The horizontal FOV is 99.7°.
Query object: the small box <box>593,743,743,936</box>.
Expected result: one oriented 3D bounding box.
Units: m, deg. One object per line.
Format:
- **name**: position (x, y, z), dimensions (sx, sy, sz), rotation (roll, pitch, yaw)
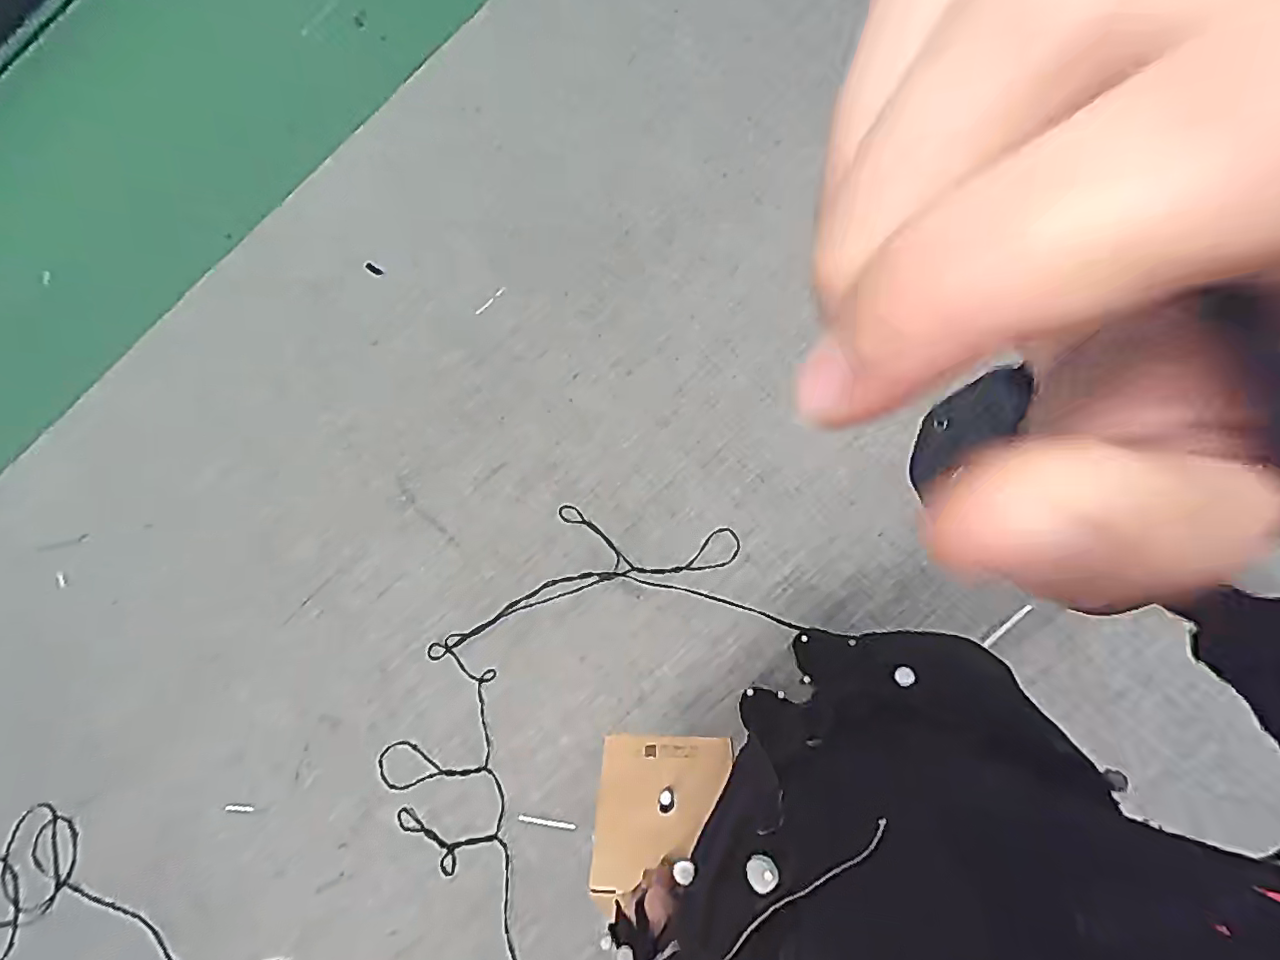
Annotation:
- **small box**: position (0.037, 0.456, 0.692), dimensions (0.168, 0.179, 0.176), rotation (-1, 41, 5)
